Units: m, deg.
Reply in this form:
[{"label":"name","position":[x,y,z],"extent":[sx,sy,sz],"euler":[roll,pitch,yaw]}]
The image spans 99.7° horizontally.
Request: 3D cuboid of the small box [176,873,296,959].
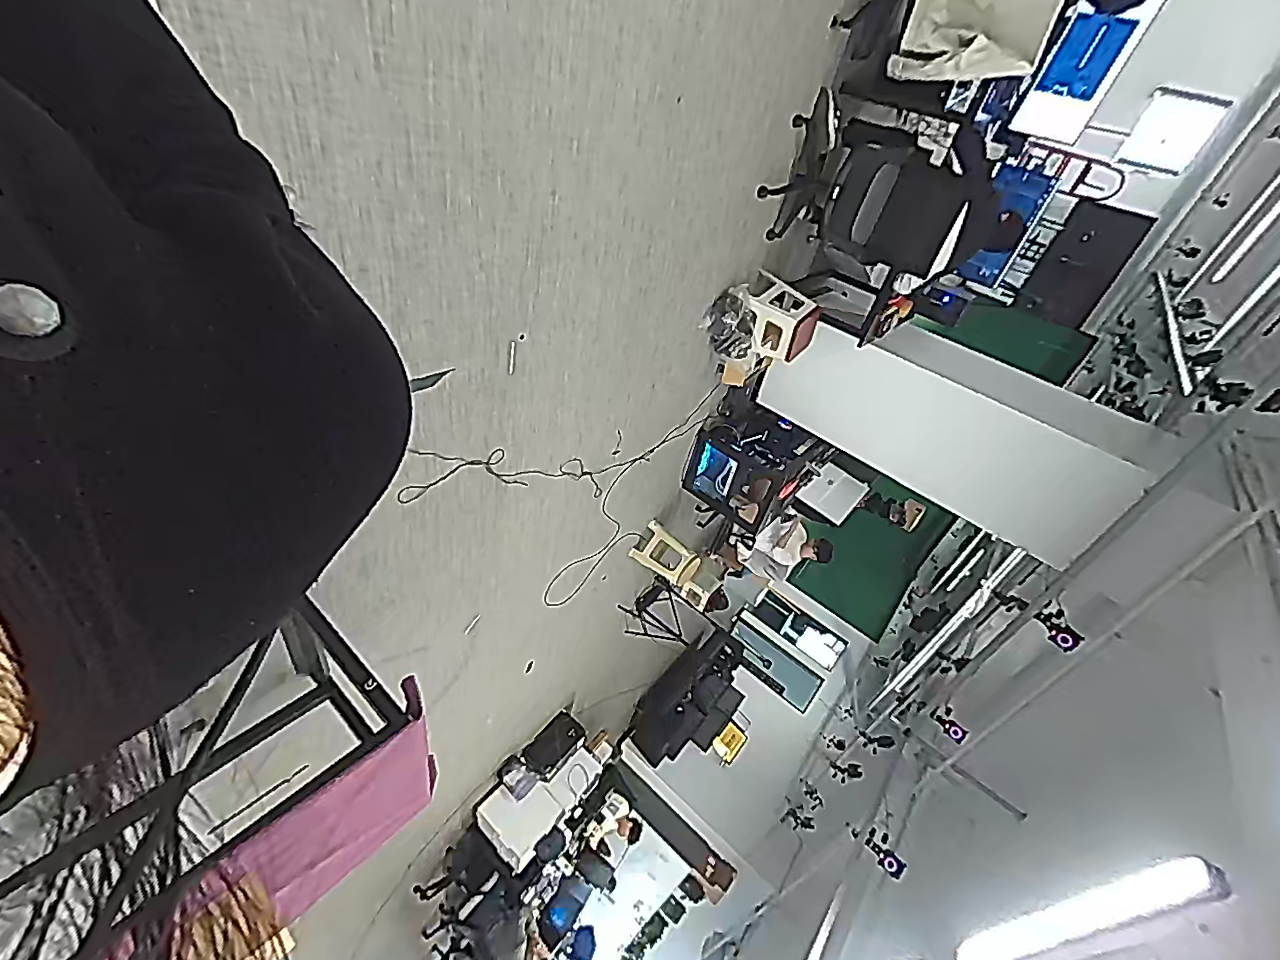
[{"label":"small box","position":[-0.963,1.095,1.297],"extent":[0.168,0.176,0.179],"euler":[-31,148,-46]}]
